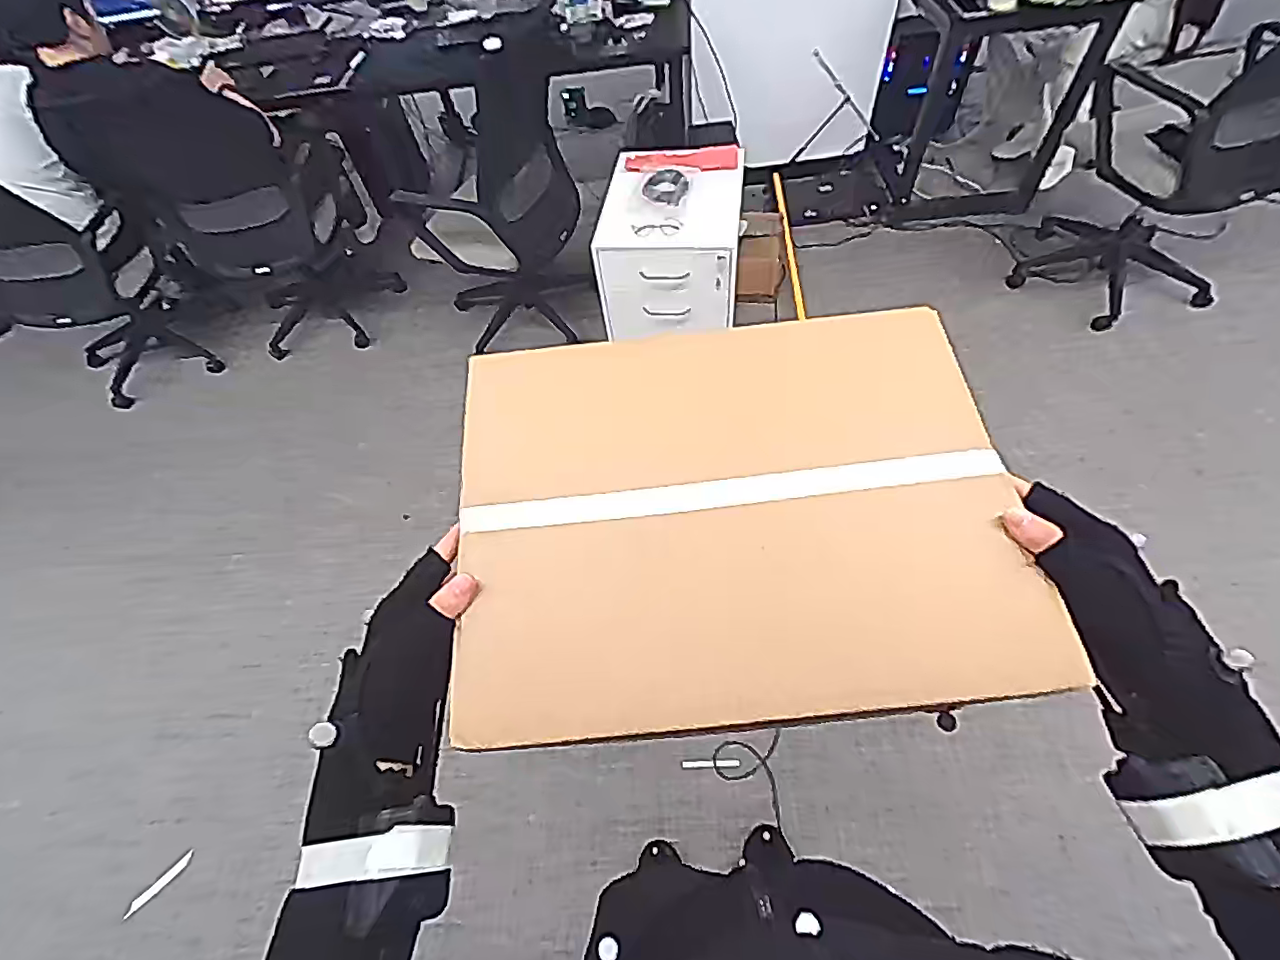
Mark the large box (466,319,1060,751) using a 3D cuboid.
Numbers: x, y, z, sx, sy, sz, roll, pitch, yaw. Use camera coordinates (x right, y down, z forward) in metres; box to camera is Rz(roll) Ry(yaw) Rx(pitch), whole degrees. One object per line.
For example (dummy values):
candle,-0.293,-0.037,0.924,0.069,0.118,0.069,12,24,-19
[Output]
large box,0.077,0.079,0.552,0.408,0.320,0.320,-7,64,1
